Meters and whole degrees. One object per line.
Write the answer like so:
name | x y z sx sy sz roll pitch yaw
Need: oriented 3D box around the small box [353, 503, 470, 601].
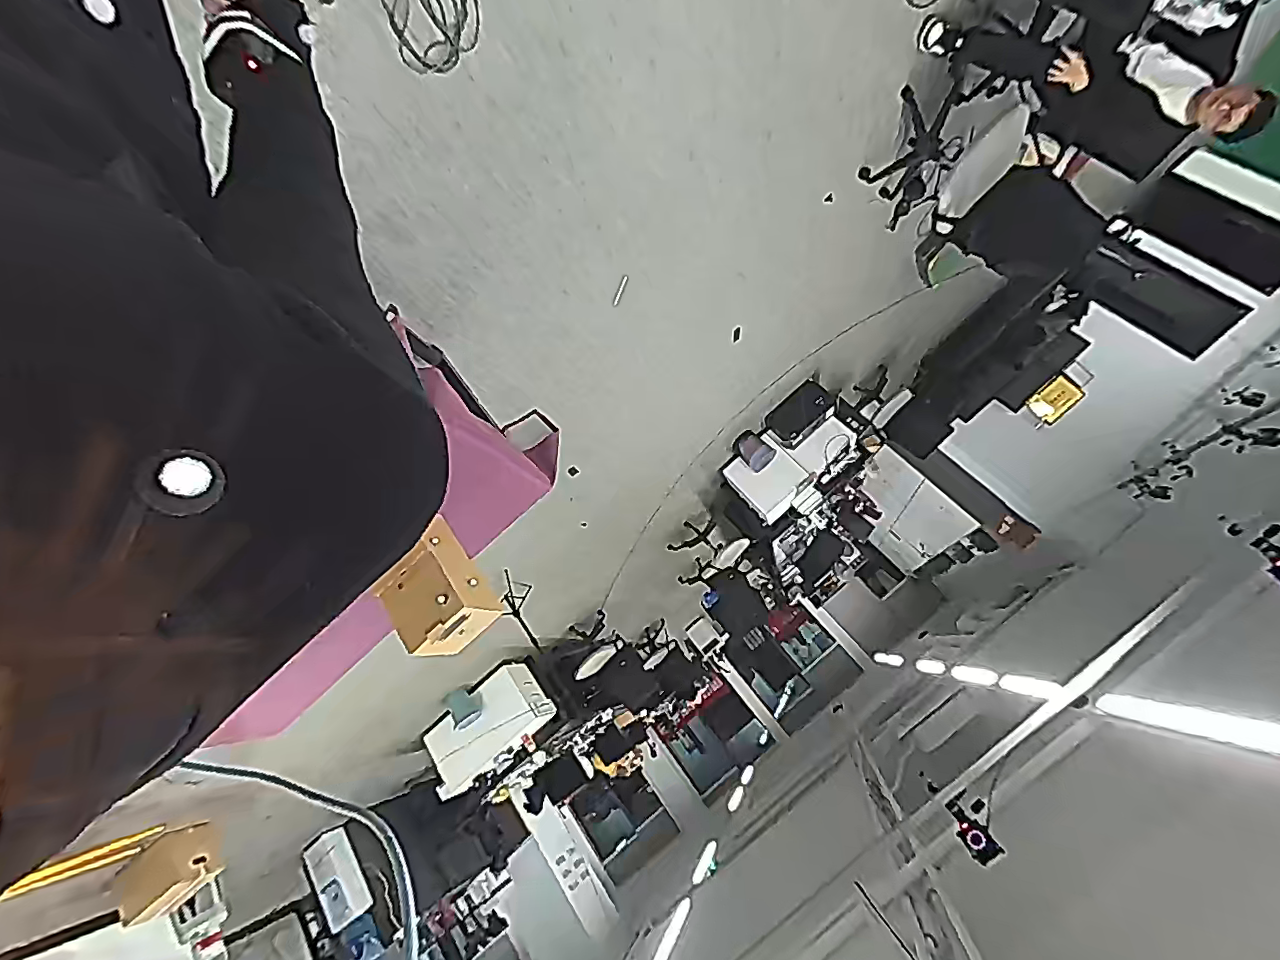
small box | -0.568 0.180 1.346 0.168 0.176 0.179 -42 156 2
